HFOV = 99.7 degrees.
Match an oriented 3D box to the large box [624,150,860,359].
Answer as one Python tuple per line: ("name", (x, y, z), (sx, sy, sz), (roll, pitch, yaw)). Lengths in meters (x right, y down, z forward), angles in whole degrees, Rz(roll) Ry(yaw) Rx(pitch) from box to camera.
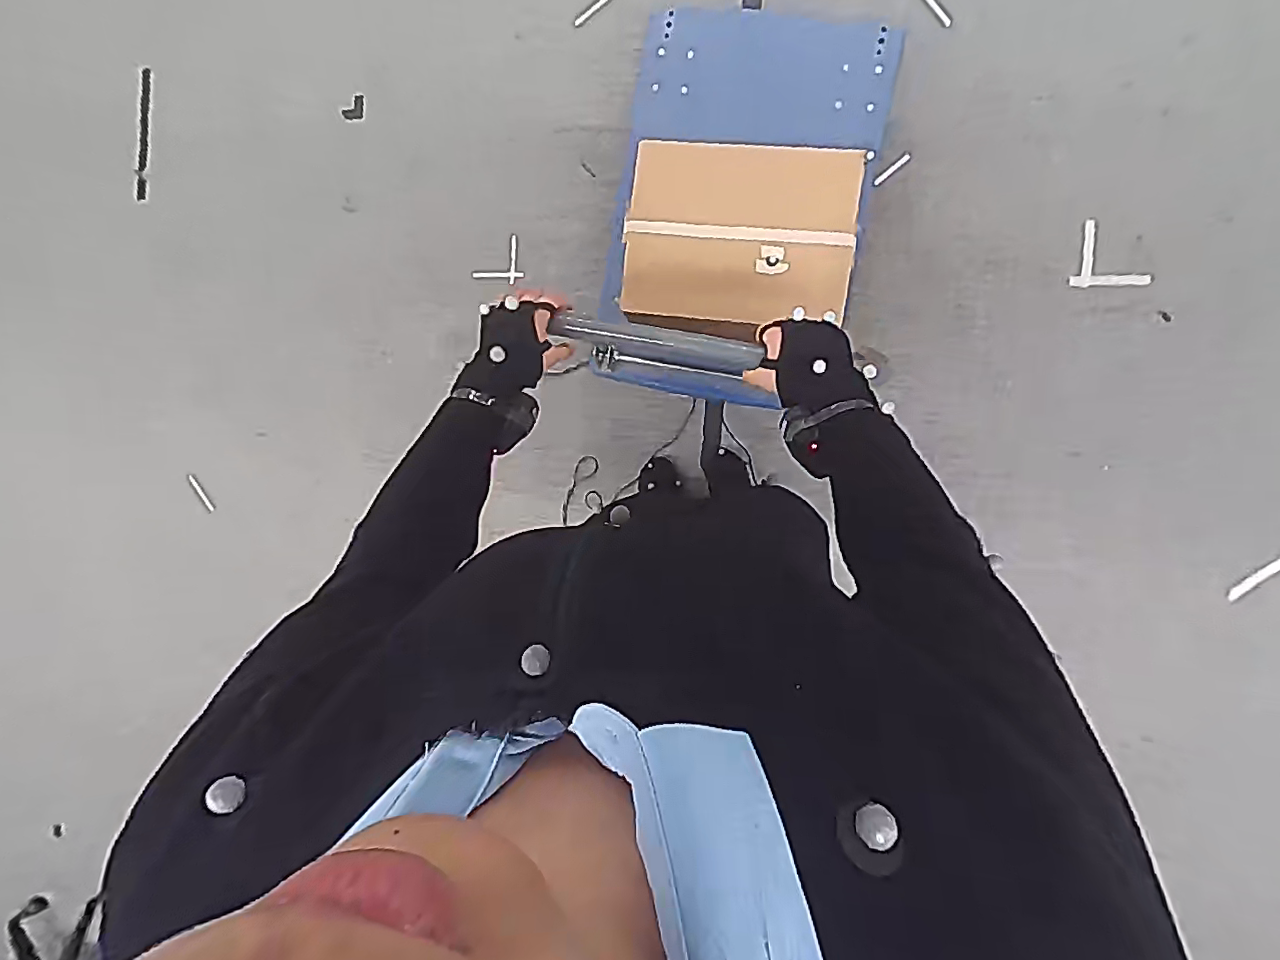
("large box", (0.197, -0.448, 1.136), (0.408, 0.320, 0.320), (7, 94, 7))
